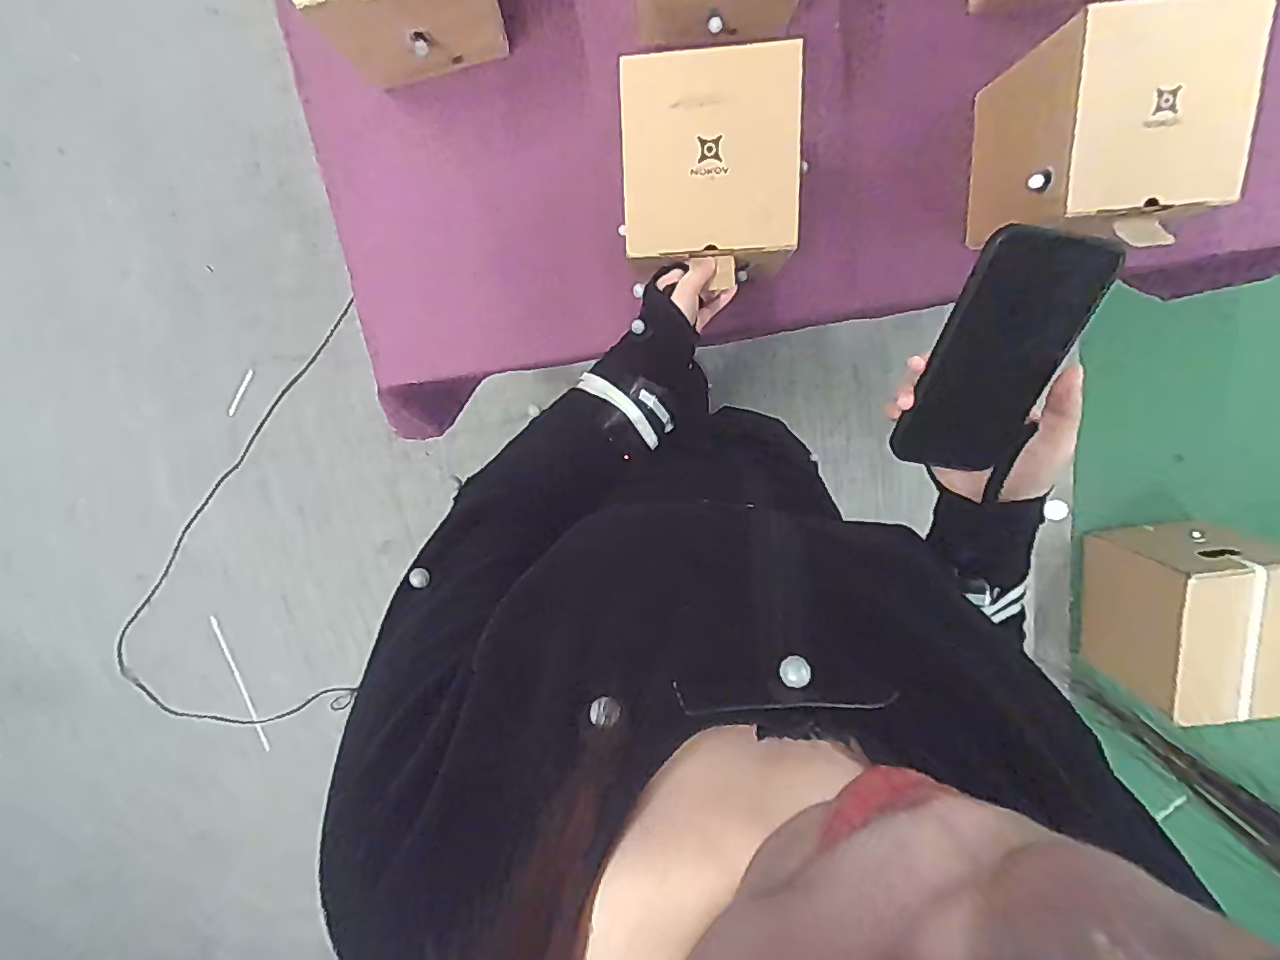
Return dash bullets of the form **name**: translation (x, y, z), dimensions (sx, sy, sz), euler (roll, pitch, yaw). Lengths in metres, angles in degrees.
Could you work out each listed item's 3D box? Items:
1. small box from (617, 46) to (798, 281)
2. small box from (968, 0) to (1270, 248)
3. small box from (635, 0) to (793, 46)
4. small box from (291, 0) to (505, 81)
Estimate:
- **small box**: translation (0.069, -0.315, 0.580), dimensions (0.168, 0.176, 0.179), euler (0, 101, 6)
- **small box**: translation (0.478, -0.358, 0.573), dimensions (0.168, 0.176, 0.179), euler (-4, 104, 2)
- **small box**: translation (0.074, -0.569, 0.527), dimensions (0.168, 0.176, 0.179), euler (-2, 104, 1)
- **small box**: translation (-0.250, -0.537, 0.539), dimensions (0.168, 0.176, 0.179), euler (-13, 104, 3)
